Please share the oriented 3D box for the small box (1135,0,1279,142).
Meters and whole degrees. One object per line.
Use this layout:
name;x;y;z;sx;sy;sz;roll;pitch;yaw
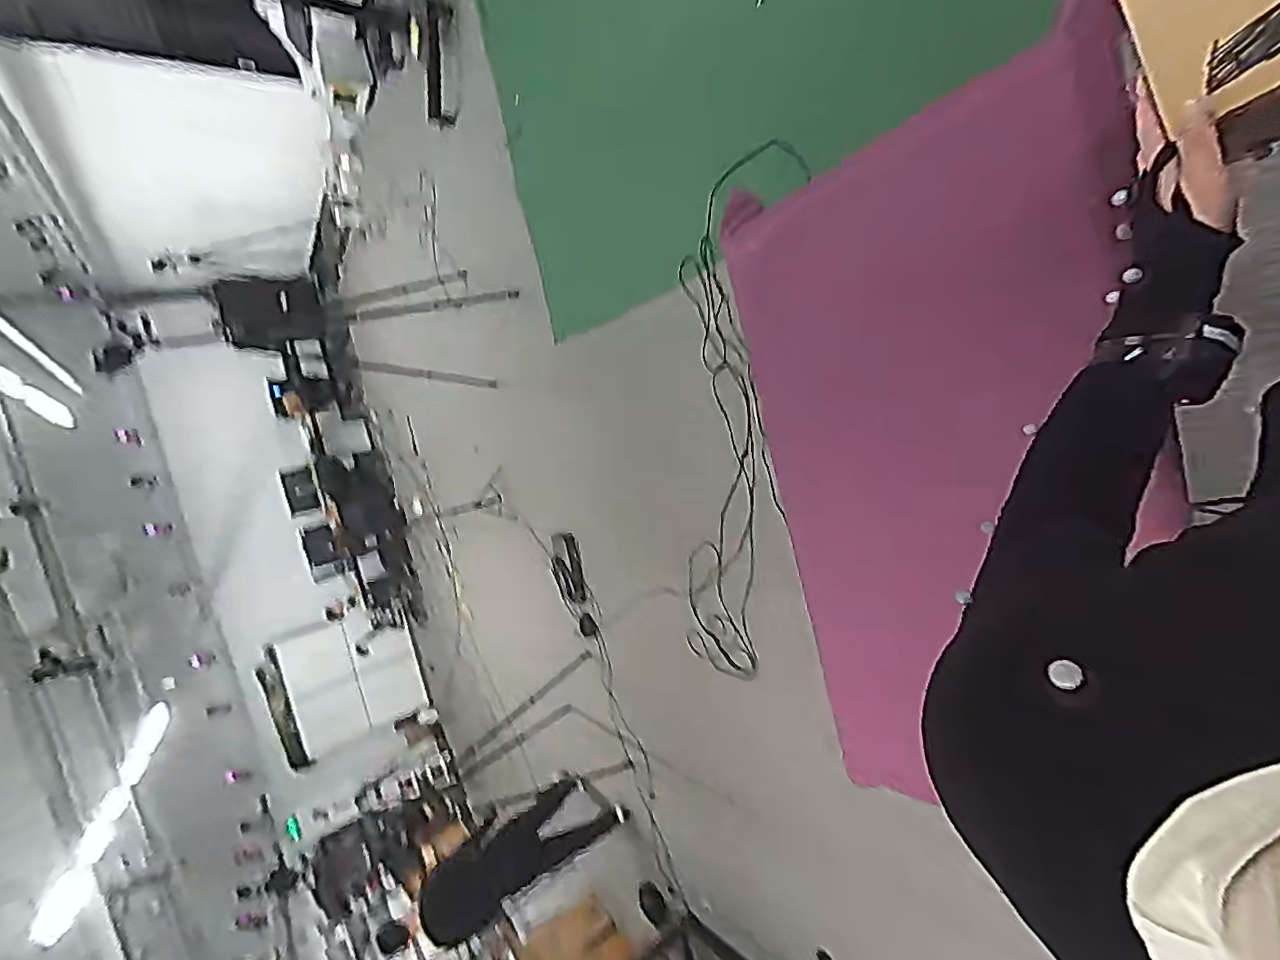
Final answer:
small box;0.520;-0.394;0.417;0.168;0.176;0.179;-19;85;57
